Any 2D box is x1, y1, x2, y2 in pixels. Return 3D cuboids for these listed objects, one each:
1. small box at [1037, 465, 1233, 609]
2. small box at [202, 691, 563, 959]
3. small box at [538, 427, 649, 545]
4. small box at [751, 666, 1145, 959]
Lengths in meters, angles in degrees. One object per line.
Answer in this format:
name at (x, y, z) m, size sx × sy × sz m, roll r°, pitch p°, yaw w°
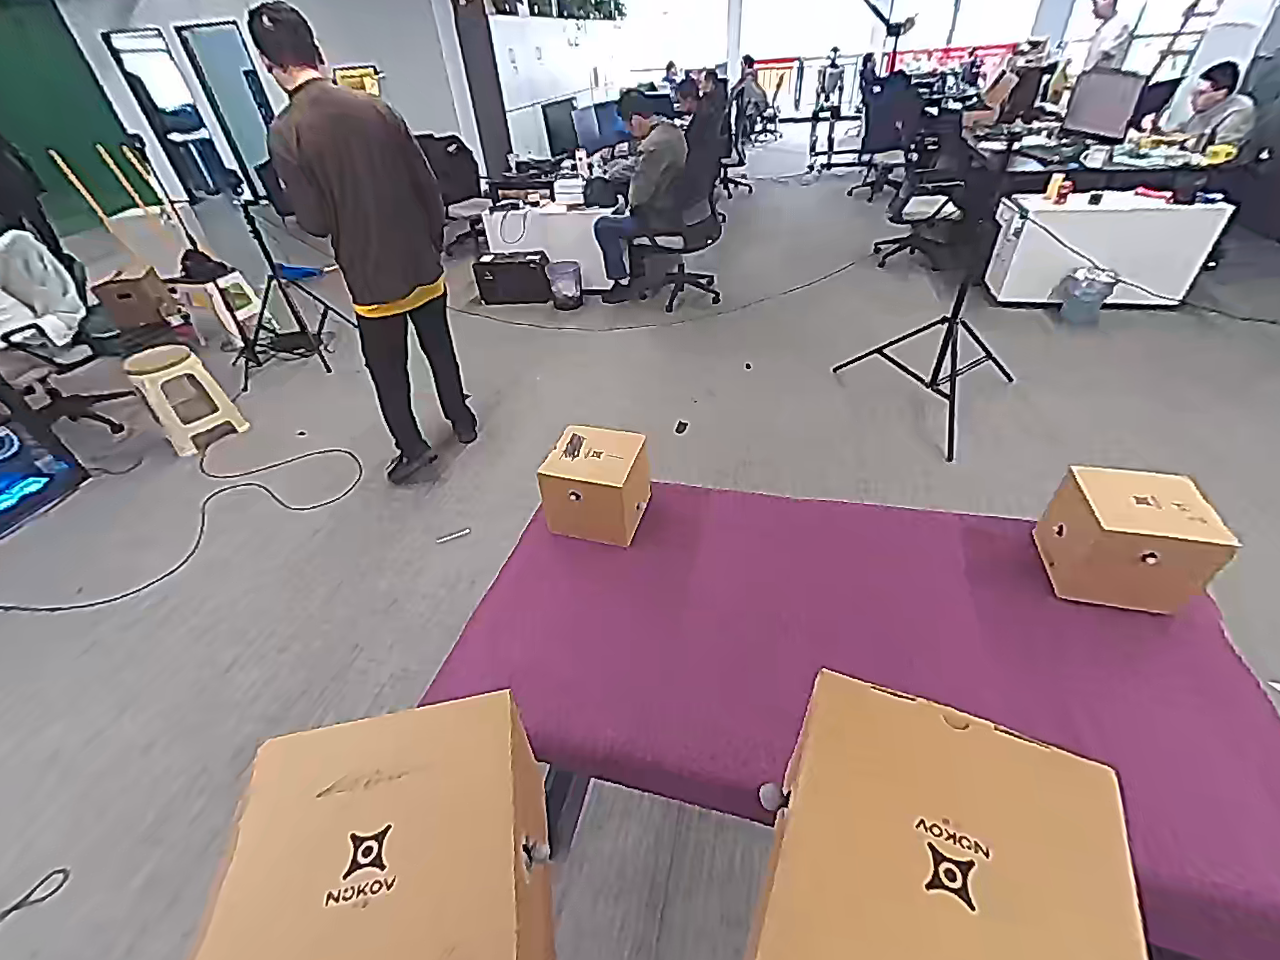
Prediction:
small box at (0.811, 0.096, 0.917) m, size 0.179 × 0.176 × 0.168 m, roll 7°, pitch 41°, yaw 14°
small box at (-0.145, 0.277, 0.357) m, size 0.168 × 0.176 × 0.179 m, roll -9°, pitch 39°, yaw -9°
small box at (-0.087, 0.013, 1.117) m, size 0.179 × 0.176 × 0.168 m, roll 9°, pitch 43°, yaw 15°
small box at (0.170, 0.259, 0.338) m, size 0.168 × 0.176 × 0.179 m, roll 14°, pitch 44°, yaw 20°
